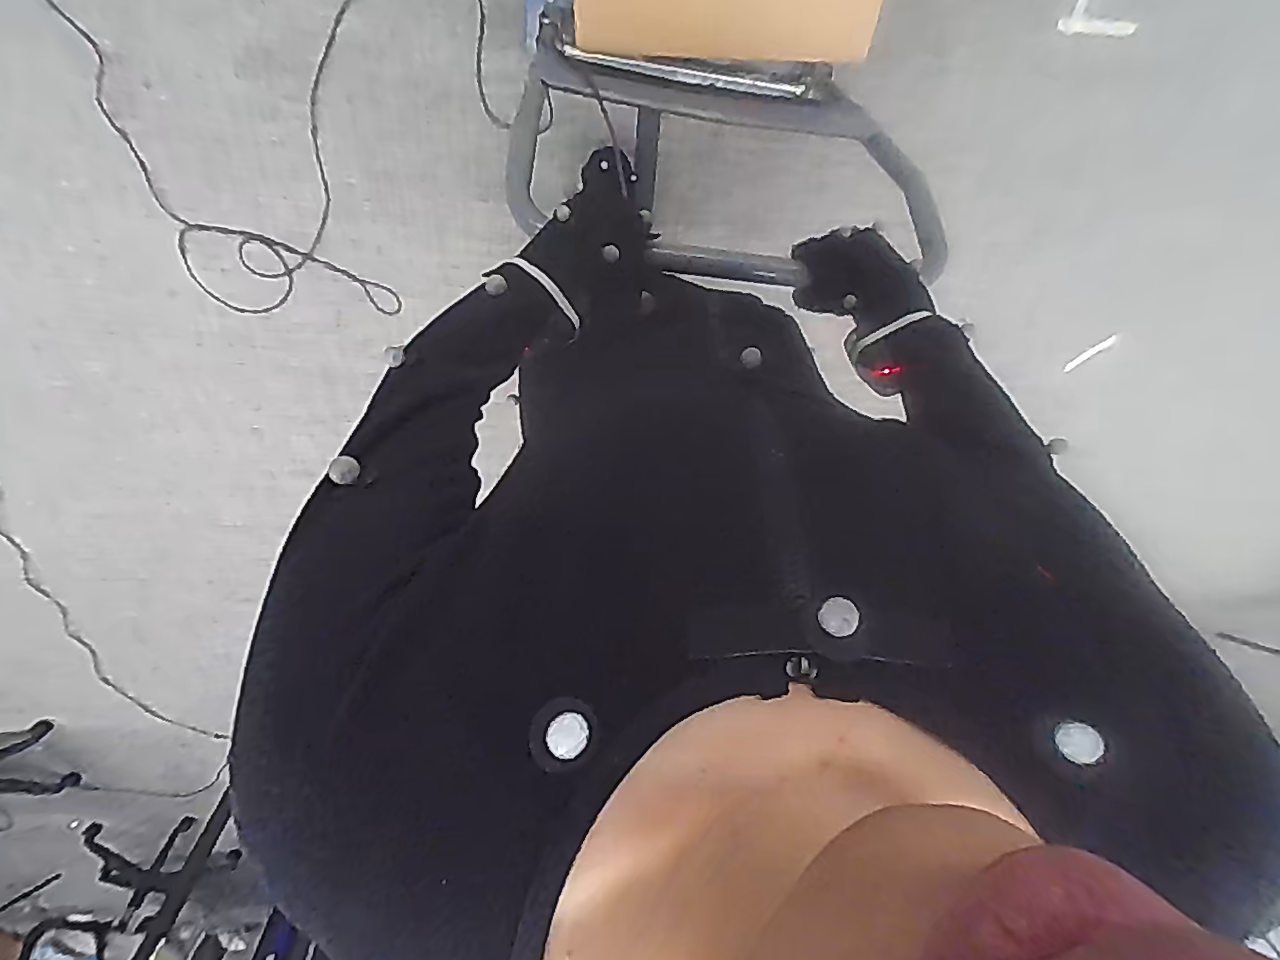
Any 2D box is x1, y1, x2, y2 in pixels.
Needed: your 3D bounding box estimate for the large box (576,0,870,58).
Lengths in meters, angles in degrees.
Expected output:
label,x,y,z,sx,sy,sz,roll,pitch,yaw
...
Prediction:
label,x,y,z,sx,sy,sz,roll,pitch,yaw
large box,0.105,-0.810,0.753,0.408,0.320,0.320,-2,138,-4
